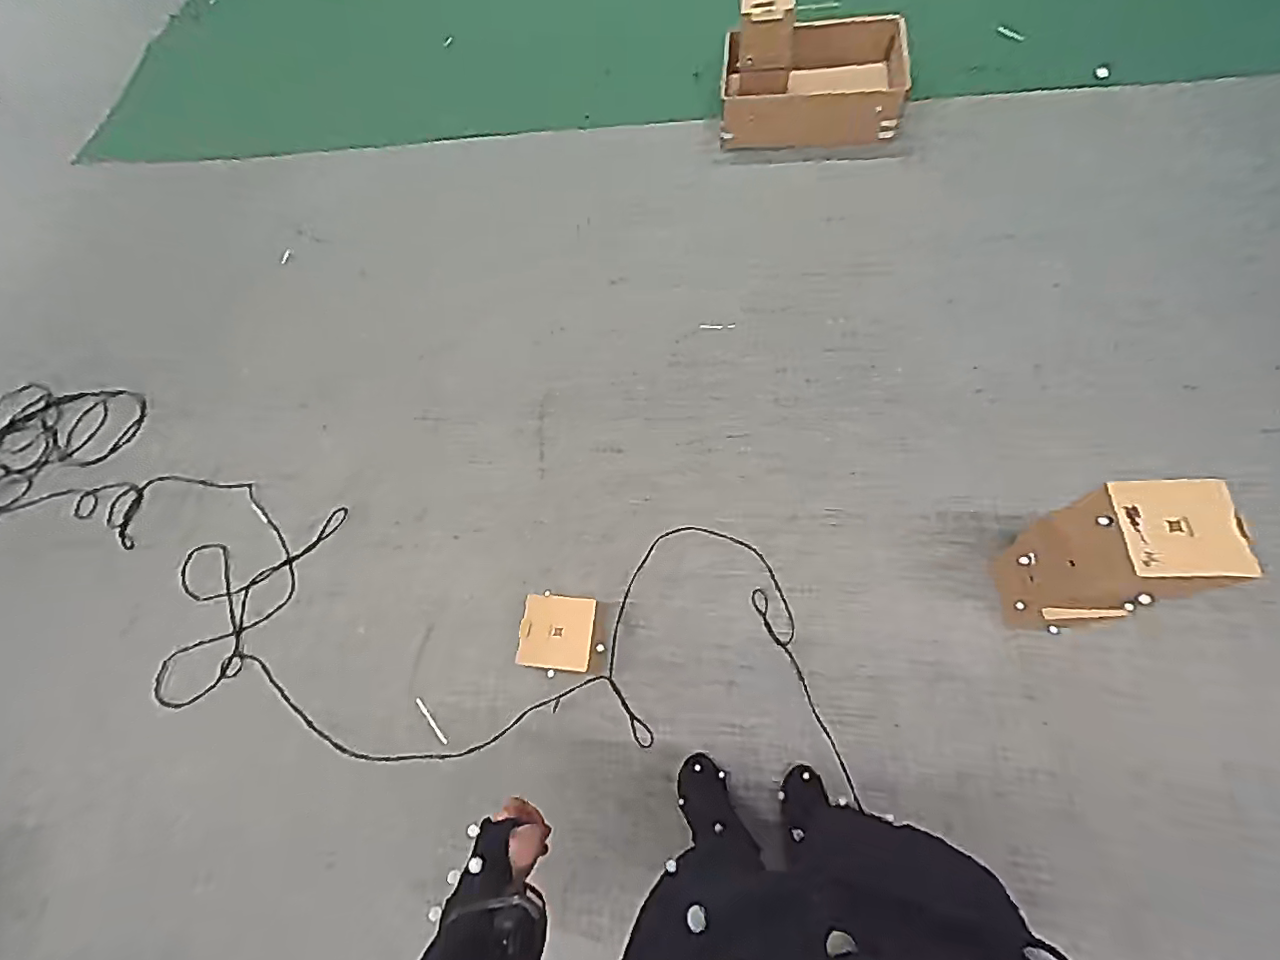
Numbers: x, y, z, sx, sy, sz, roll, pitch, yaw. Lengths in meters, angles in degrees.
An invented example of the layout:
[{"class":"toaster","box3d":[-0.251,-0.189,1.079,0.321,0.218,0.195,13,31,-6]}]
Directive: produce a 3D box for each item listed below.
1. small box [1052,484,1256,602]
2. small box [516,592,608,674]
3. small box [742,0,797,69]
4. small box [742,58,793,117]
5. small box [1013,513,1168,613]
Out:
[{"class":"small box","box3d":[0.878,0.115,0.946,0.179,0.176,0.168,0,67,7]},{"class":"small box","box3d":[-0.184,0.382,1.337,0.179,0.176,0.168,3,67,10]},{"class":"small box","box3d":[0.430,-1.512,1.806,0.168,0.176,0.179,2,68,8]},{"class":"small box","box3d":[0.457,-1.460,1.960,0.168,0.176,0.179,1,68,9]},{"class":"small box","box3d":[0.906,0.171,1.097,0.179,0.176,0.168,-1,66,9]}]
